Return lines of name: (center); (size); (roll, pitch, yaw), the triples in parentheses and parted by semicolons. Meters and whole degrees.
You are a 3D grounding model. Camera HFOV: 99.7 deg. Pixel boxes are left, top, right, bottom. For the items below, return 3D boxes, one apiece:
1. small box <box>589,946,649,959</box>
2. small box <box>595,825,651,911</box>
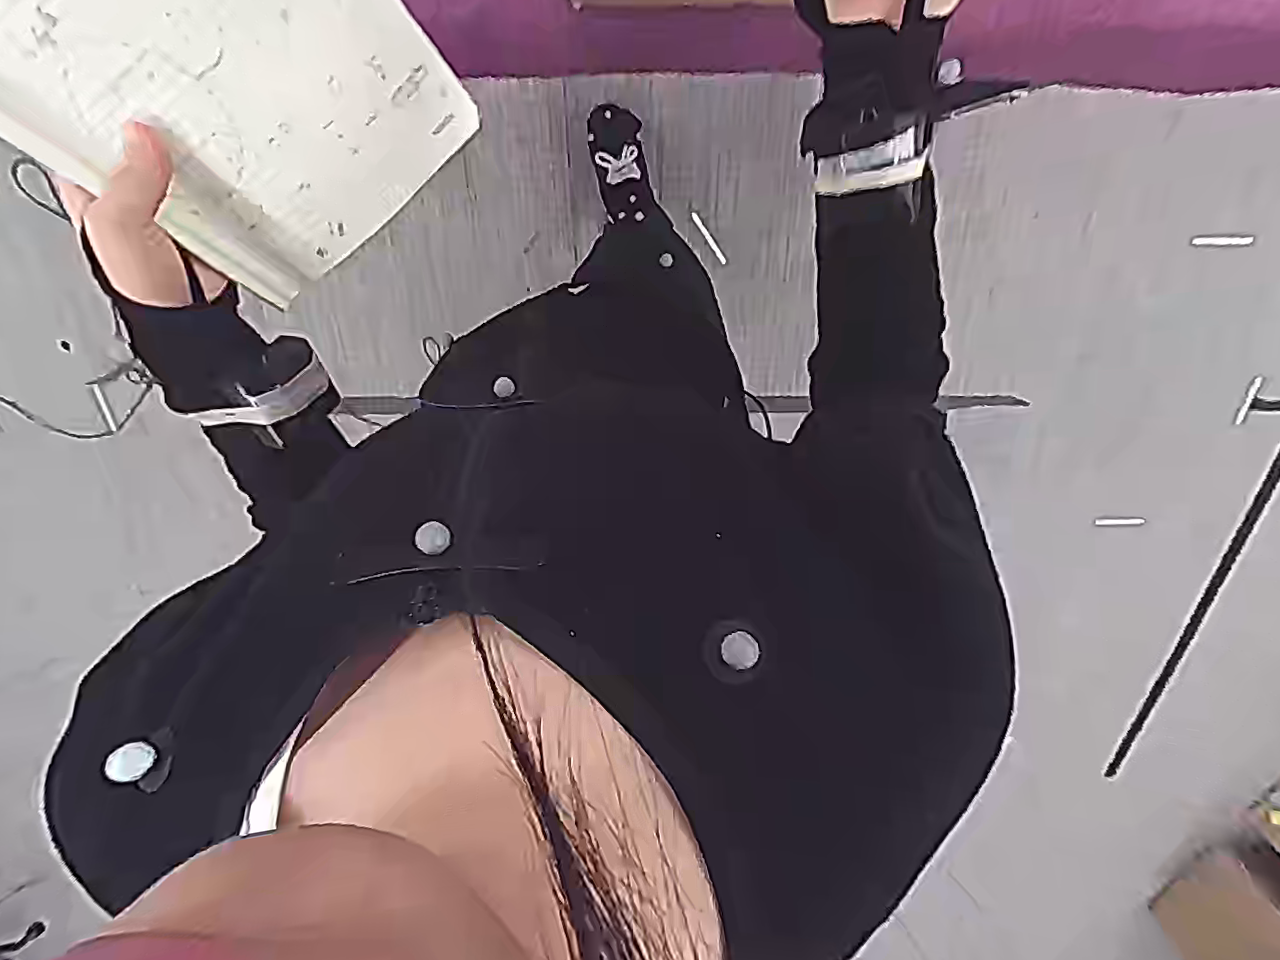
small box: (-0.053, 1.374, 1.428); (0.168, 0.176, 0.179); (-2, 116, -1)
small box: (-0.053, 1.230, 1.724); (0.168, 0.176, 0.179); (-4, 117, 1)
